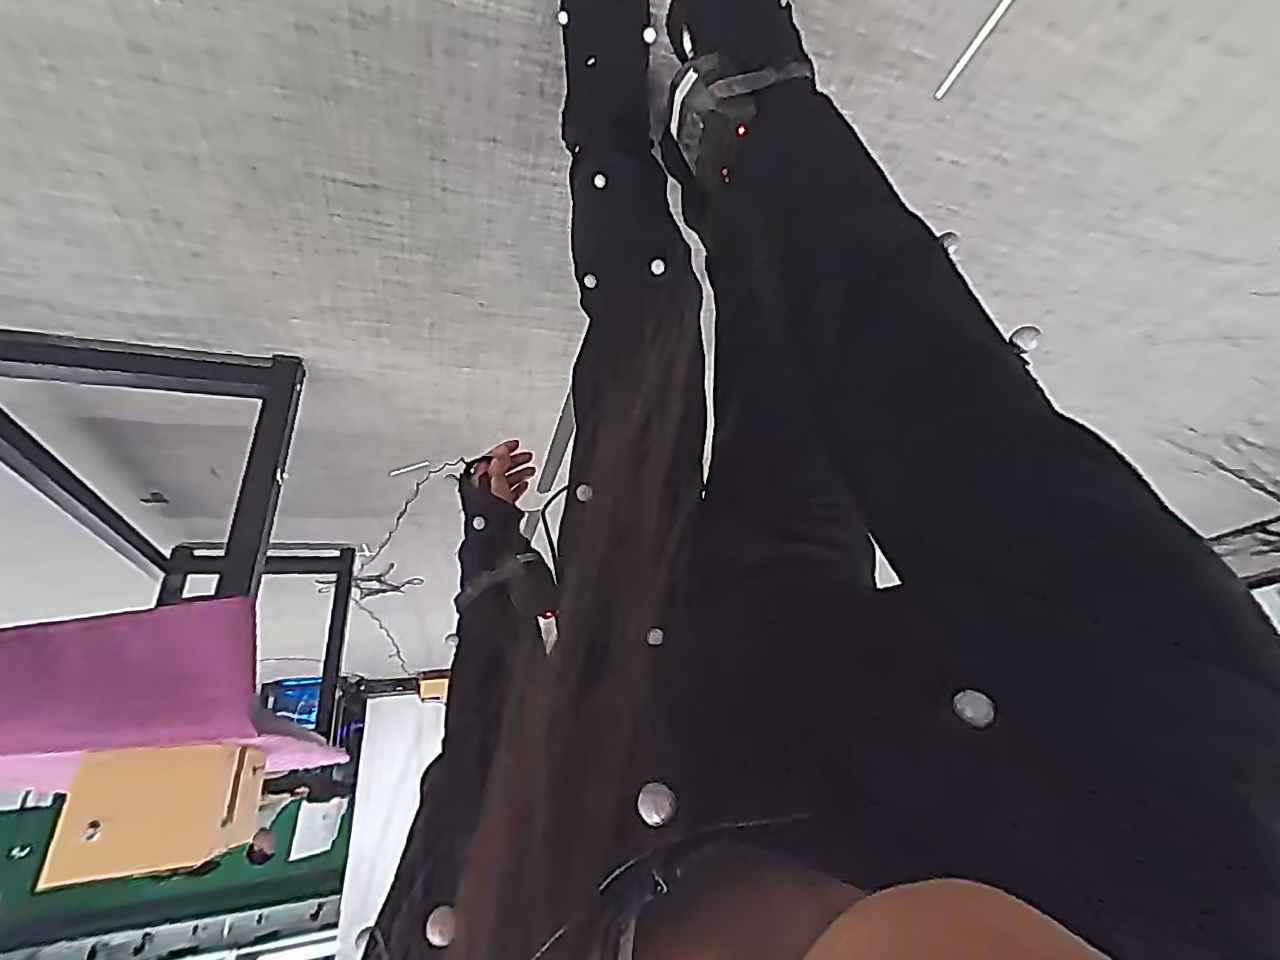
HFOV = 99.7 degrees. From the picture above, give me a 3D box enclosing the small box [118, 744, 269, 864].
[{"bbox_3d":[-0.834,0.607,1.032,0.168,0.176,0.179,3,151,-20],"label":"small box"}]
